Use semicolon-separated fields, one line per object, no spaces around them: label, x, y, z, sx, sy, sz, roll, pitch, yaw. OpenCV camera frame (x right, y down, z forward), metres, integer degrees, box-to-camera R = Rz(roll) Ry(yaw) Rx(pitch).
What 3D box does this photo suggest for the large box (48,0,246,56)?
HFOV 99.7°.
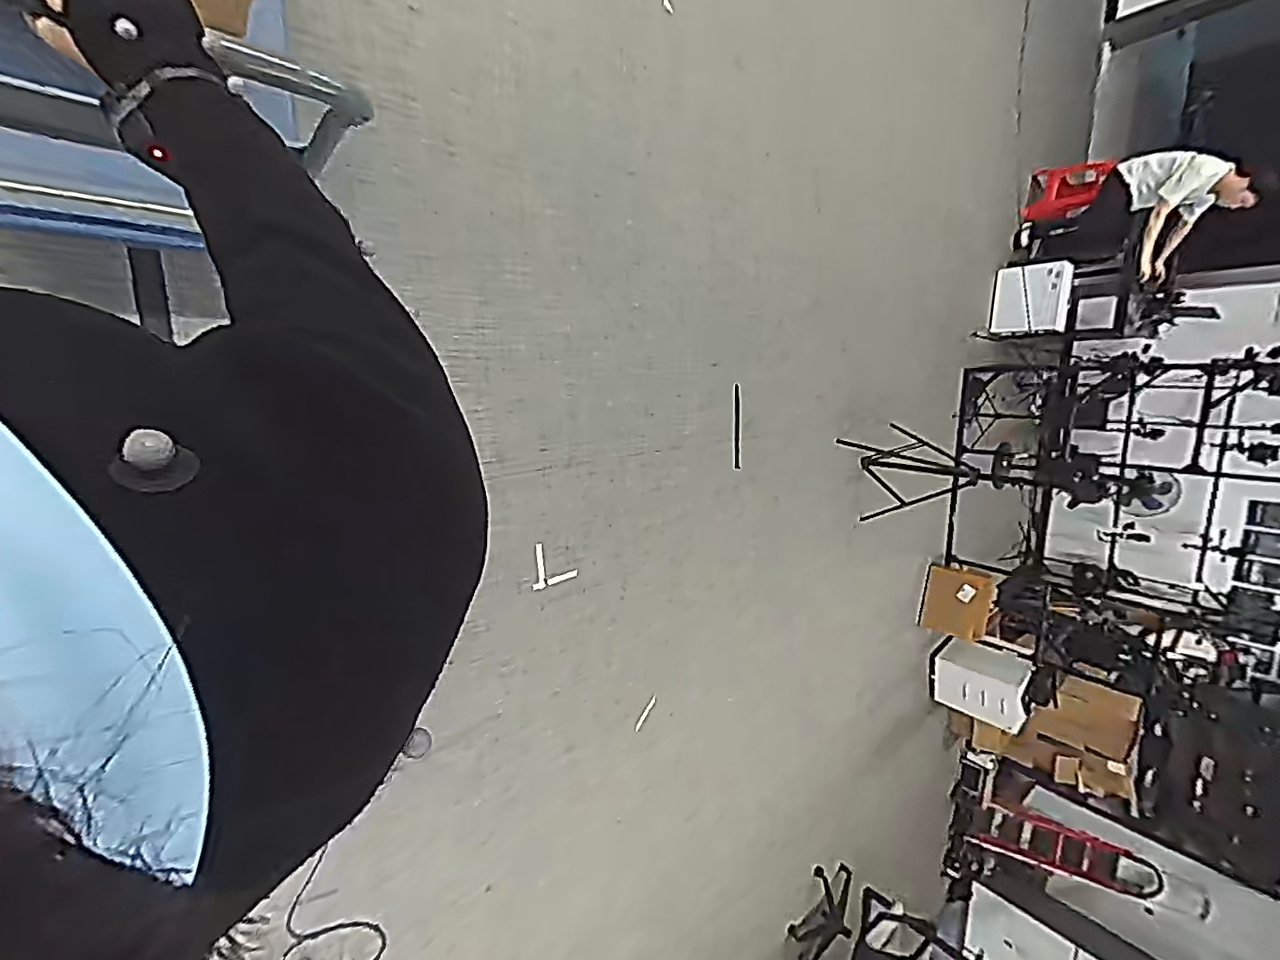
large box;-0.784;-0.862;0.711;0.408;0.320;0.320;-6;102;-39
